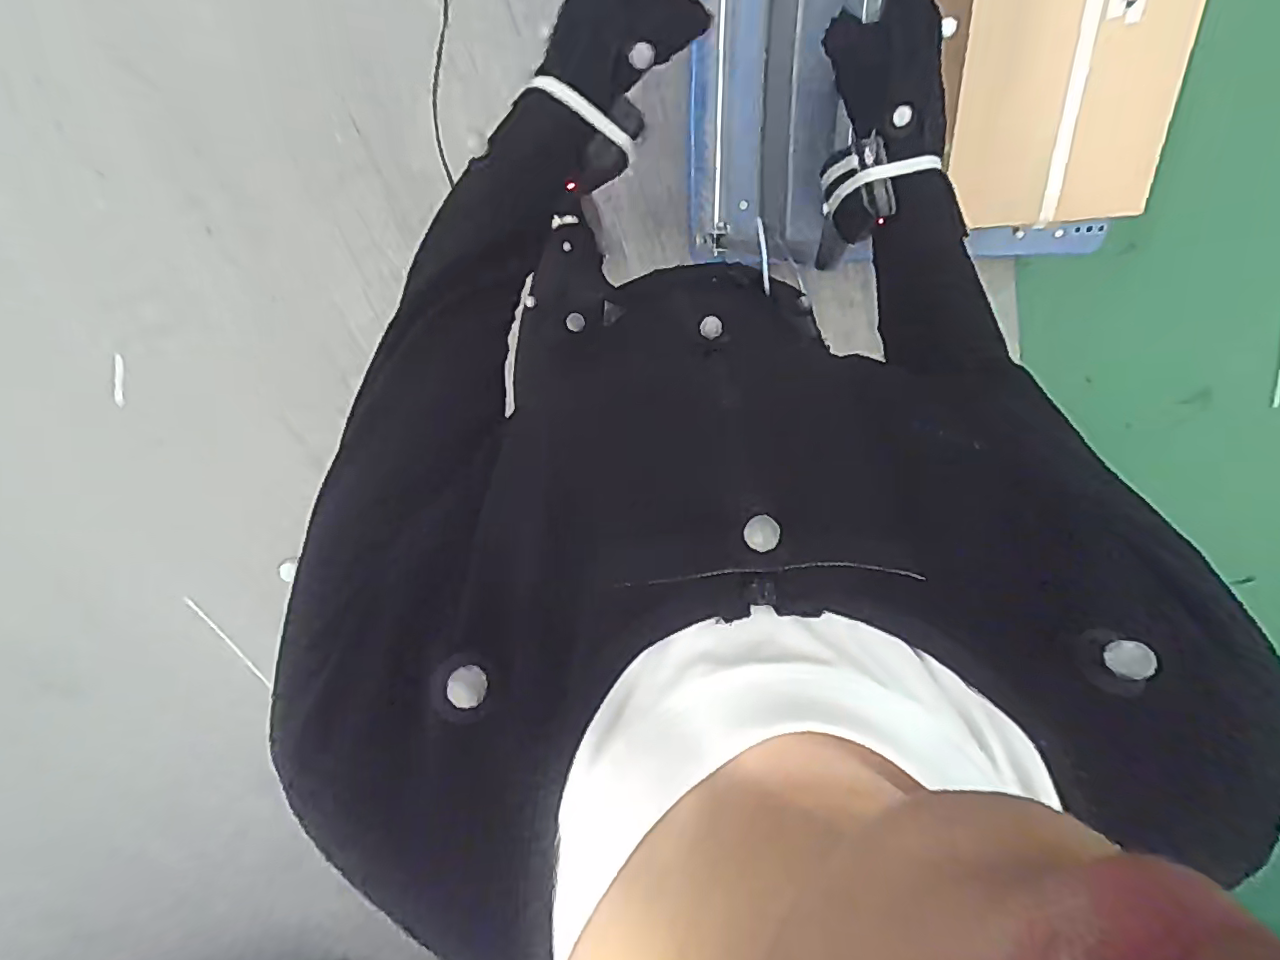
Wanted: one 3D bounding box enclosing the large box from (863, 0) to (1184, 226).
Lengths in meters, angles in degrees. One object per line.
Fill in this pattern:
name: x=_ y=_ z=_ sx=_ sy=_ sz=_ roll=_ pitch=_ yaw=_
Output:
large box: x=0.588 y=-0.654 z=0.891 sx=0.320 sy=0.320 sz=0.408 roll=-4 pitch=115 yaw=0
